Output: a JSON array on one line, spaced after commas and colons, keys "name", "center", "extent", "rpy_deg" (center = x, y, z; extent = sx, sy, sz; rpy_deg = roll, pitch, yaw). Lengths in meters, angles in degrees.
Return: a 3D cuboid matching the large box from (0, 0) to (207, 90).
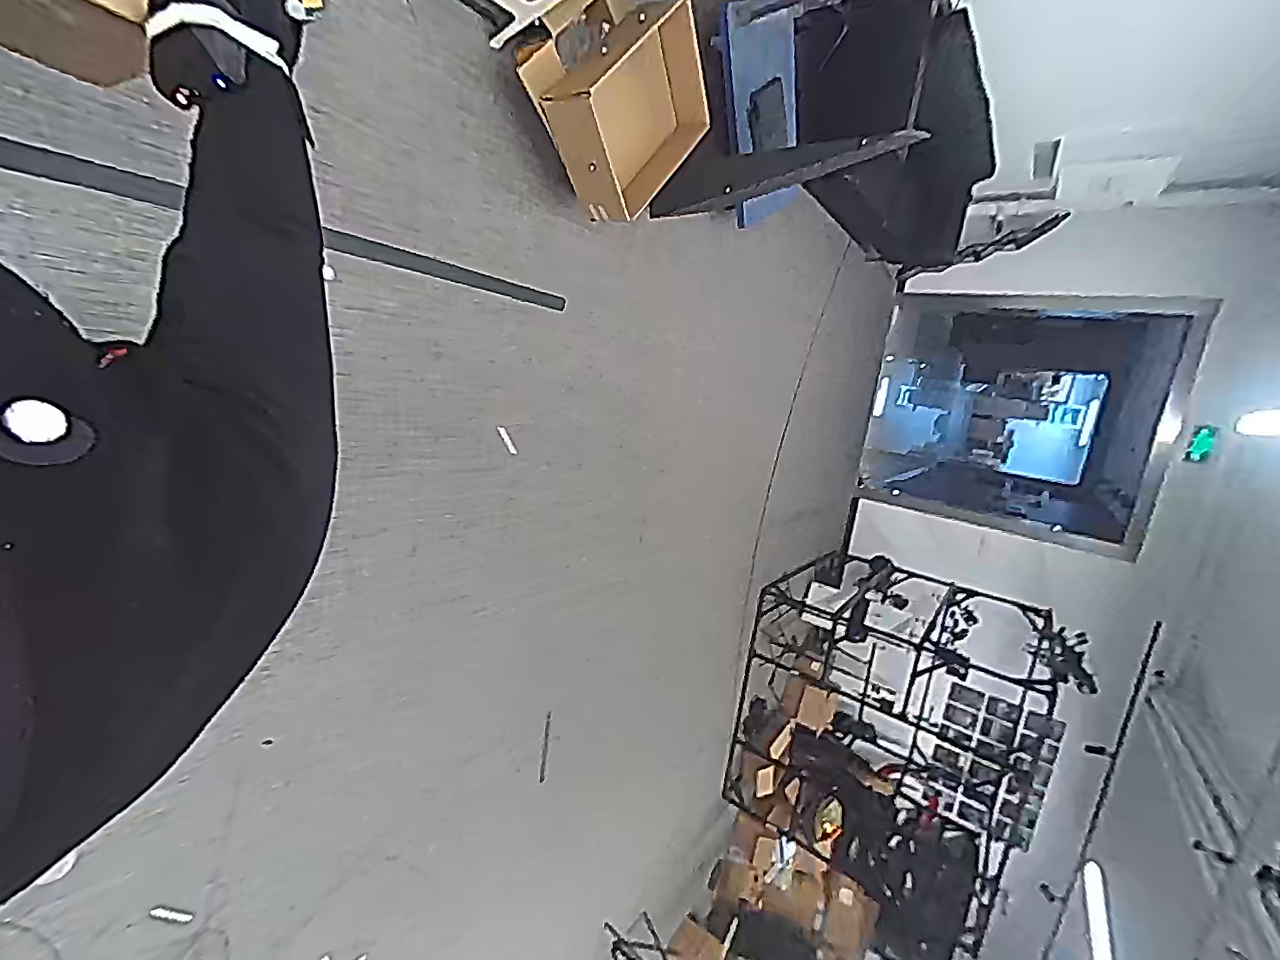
[{"name": "large box", "center": [-0.542, -0.513, 0.316], "extent": [0.408, 0.320, 0.320], "rpy_deg": [-2, 110, -55]}]
